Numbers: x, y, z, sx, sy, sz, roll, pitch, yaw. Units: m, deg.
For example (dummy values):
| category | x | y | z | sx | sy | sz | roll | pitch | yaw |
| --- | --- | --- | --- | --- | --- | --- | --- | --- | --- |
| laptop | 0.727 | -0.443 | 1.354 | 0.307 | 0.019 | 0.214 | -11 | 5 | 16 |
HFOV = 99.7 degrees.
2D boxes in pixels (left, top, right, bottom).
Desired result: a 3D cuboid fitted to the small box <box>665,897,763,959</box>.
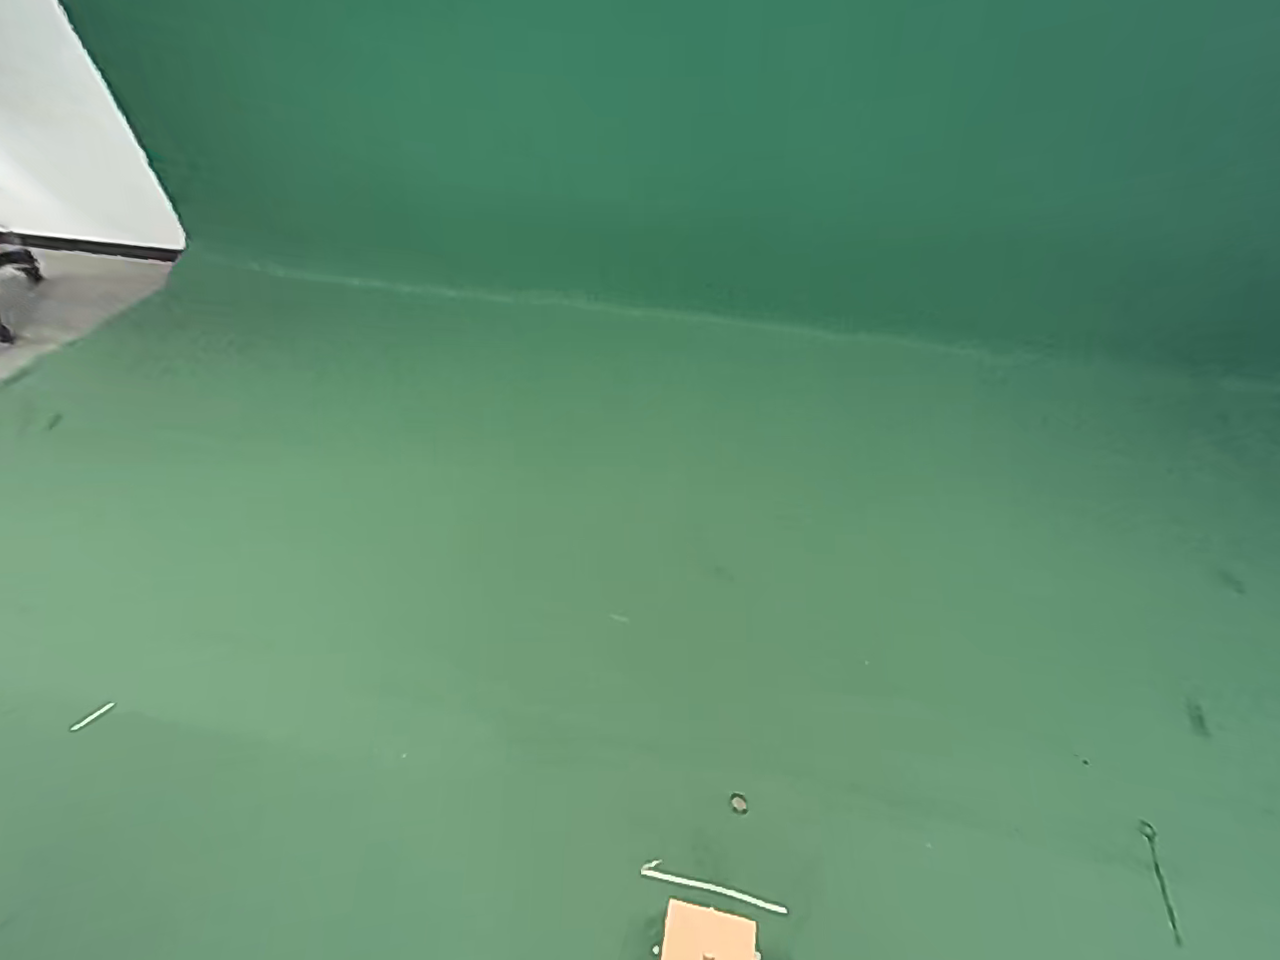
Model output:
| category | x | y | z | sx | sy | sz | roll | pitch | yaw |
| --- | --- | --- | --- | --- | --- | --- | --- | --- | --- |
| small box | 0.129 | 0.918 | 1.008 | 0.168 | 0.176 | 0.179 | 9 | 46 | 9 |
